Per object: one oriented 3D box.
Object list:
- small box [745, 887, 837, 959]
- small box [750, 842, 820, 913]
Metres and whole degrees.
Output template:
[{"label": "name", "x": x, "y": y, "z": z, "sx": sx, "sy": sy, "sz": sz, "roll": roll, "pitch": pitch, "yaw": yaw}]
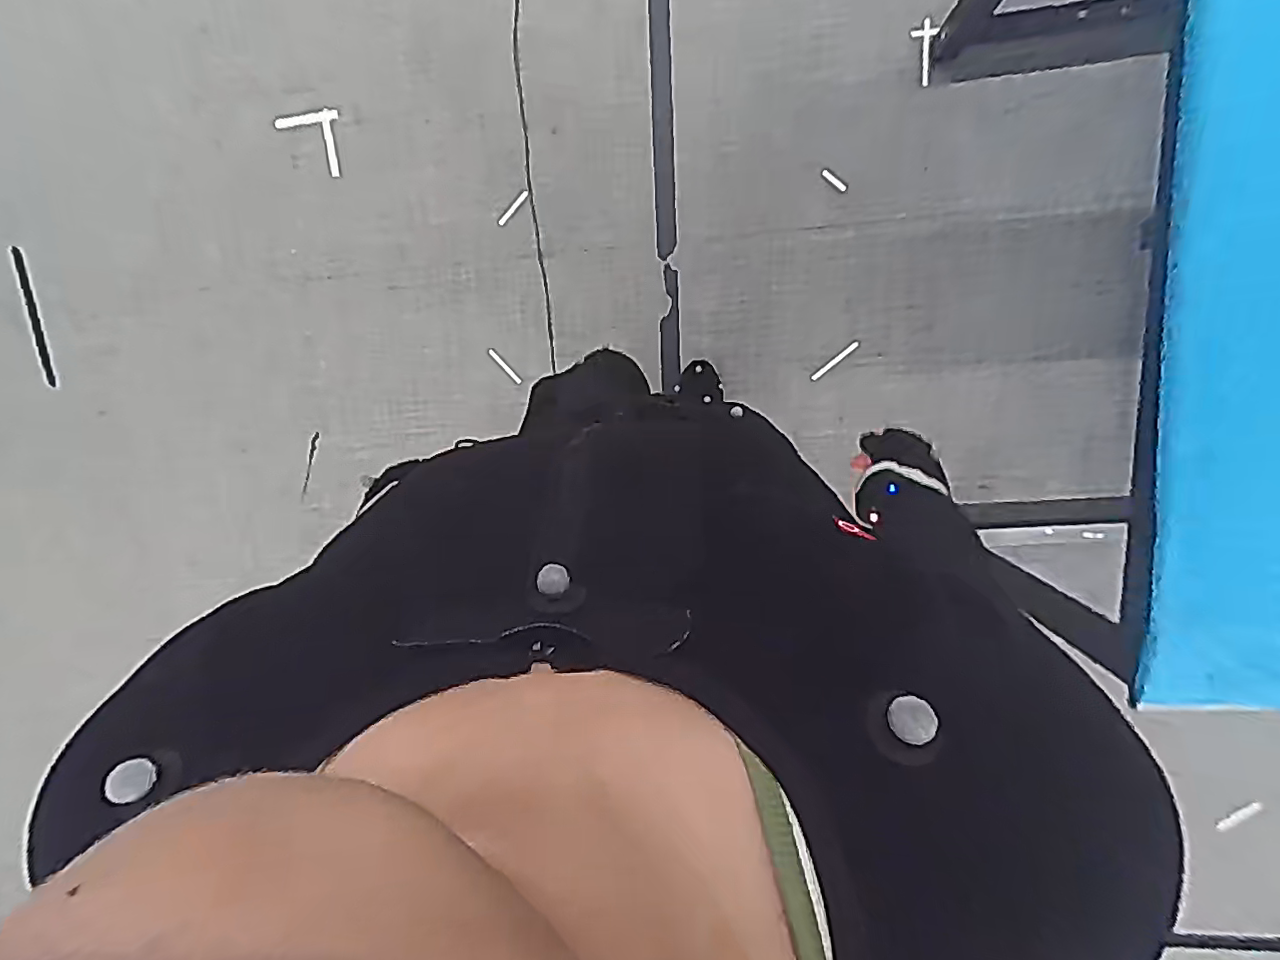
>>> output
[{"label": "small box", "x": 0.404, "y": 1.250, "z": 1.433, "sx": 0.179, "sy": 0.176, "sz": 0.168, "roll": 34, "pitch": 103, "yaw": -2}, {"label": "small box", "x": 0.419, "y": 1.206, "z": 1.594, "sx": 0.179, "sy": 0.176, "sz": 0.168, "roll": 0, "pitch": 102, "yaw": 5}]
